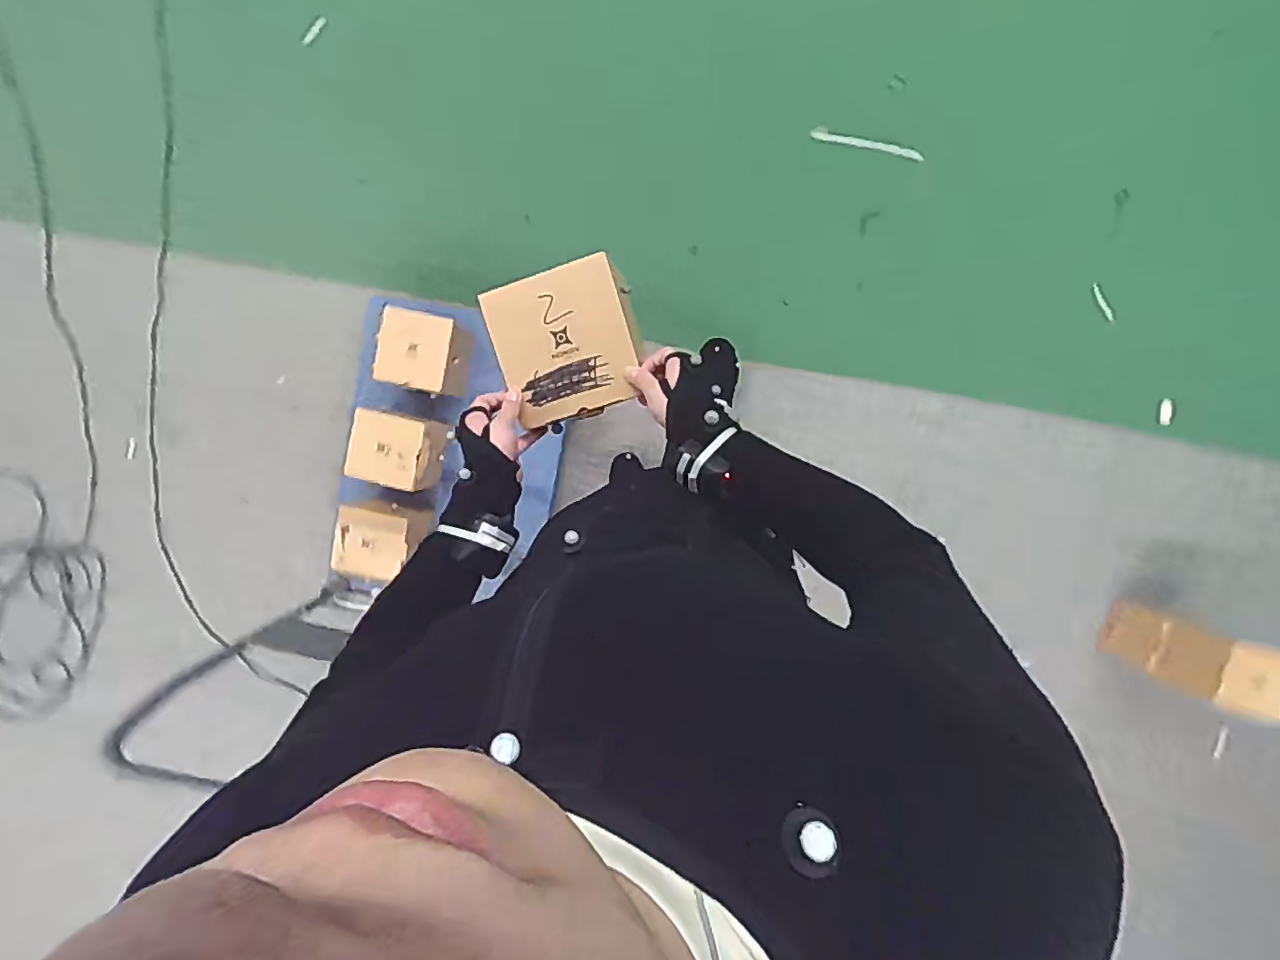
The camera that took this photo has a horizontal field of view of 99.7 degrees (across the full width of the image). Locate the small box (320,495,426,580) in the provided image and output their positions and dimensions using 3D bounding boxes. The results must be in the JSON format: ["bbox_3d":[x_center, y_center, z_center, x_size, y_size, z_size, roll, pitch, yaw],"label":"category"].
[{"bbox_3d":[-0.669,0.138,1.375,0.179,0.176,0.168,12,94,-1],"label":"small box"}]

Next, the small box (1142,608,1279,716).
[{"bbox_3d":[1.483,0.464,1.408,0.179,0.176,0.168,-43,91,3],"label":"small box"}]

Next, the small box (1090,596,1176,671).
[{"bbox_3d":[1.467,0.448,1.562,0.179,0.176,0.168,15,95,-1],"label":"small box"}]

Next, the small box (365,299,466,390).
[{"bbox_3d":[-0.545,-0.325,1.335,0.168,0.176,0.179,12,95,-1],"label":"small box"}]

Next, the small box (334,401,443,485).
[{"bbox_3d":[-0.622,-0.092,1.355,0.179,0.176,0.168,14,95,-1],"label":"small box"}]
